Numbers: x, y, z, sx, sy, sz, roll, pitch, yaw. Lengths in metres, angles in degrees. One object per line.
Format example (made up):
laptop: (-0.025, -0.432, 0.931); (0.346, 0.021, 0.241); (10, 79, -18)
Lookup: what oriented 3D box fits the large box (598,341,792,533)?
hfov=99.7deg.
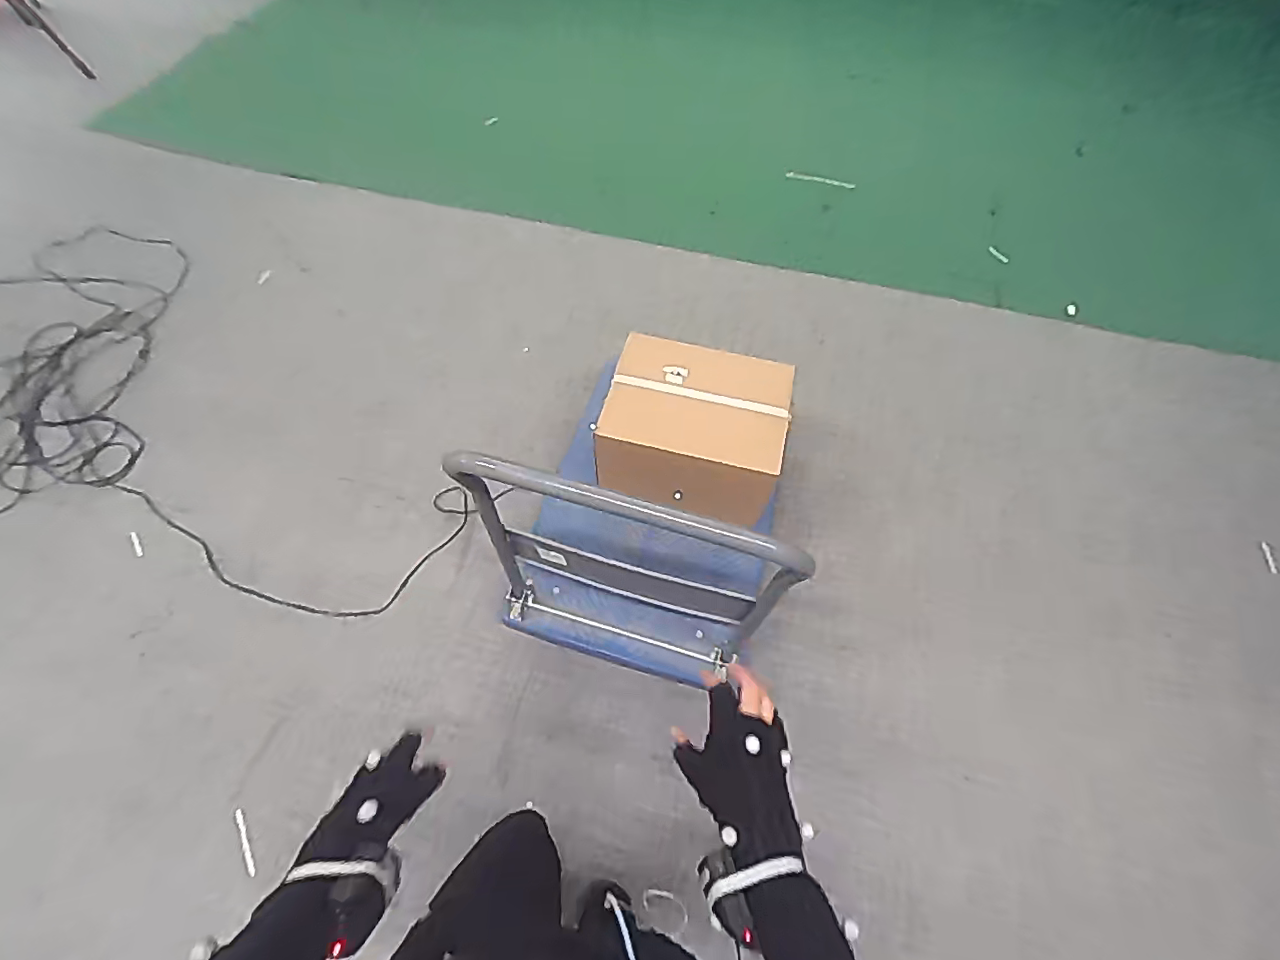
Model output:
large box: (0.133, -0.098, 1.356); (0.408, 0.320, 0.320); (13, 59, 6)
